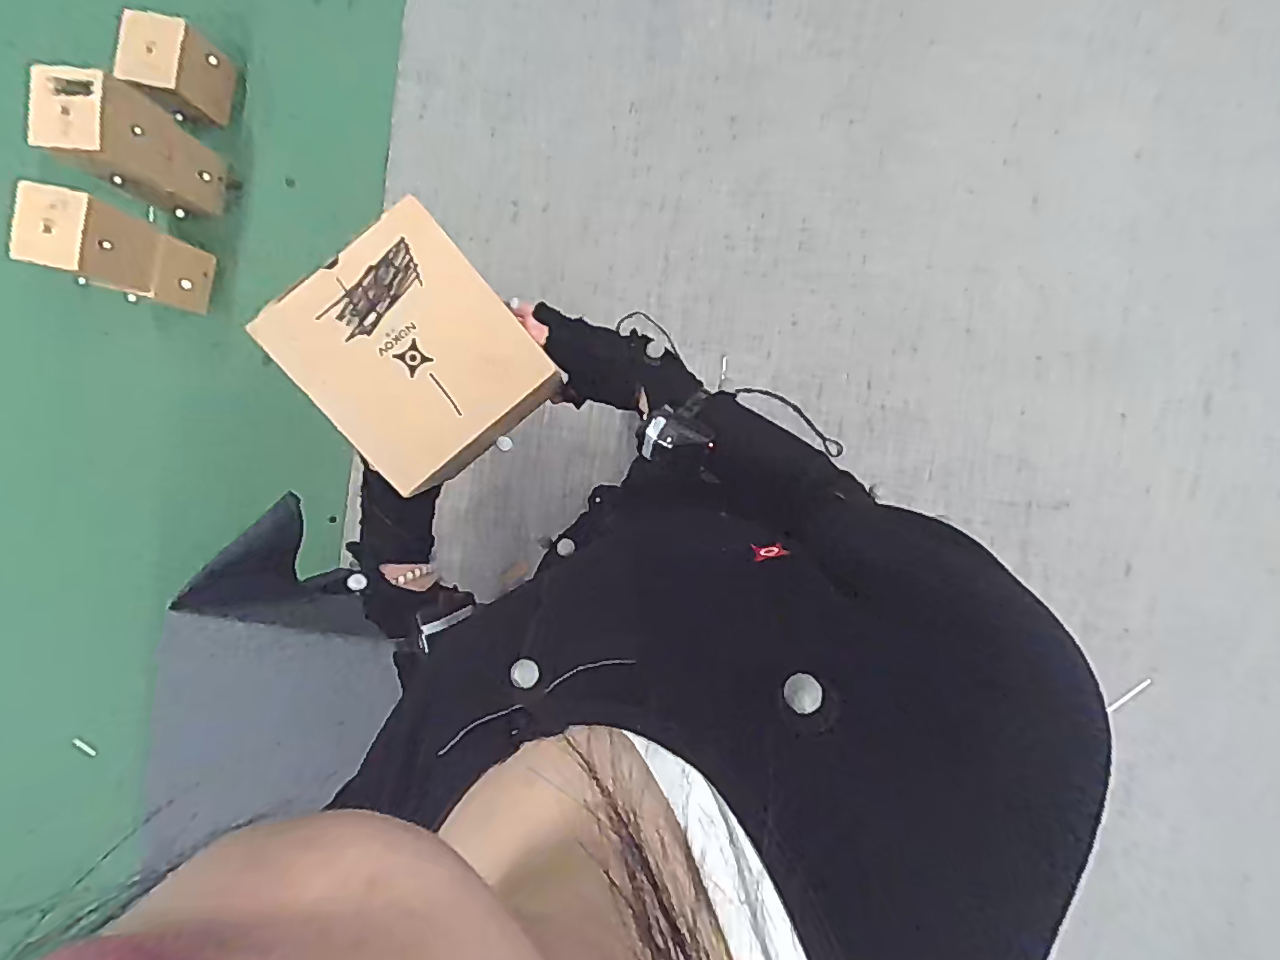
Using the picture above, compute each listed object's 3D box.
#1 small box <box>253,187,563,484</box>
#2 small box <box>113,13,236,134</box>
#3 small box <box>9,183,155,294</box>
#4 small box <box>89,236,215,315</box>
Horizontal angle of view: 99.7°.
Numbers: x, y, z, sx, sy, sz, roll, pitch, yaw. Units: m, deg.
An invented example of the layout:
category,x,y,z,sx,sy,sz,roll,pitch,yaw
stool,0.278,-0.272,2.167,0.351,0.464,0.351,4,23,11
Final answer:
category,x,y,z,sx,sy,sz,roll,pitch,yaw
small box,-0.188,-0.115,0.500,0.168,0.176,0.179,-39,97,-2
small box,-1.215,-1.063,1.424,0.168,0.176,0.179,12,91,2
small box,-1.302,-0.558,1.274,0.168,0.176,0.179,12,92,2
small box,-1.288,-0.552,1.438,0.179,0.176,0.168,13,92,2
